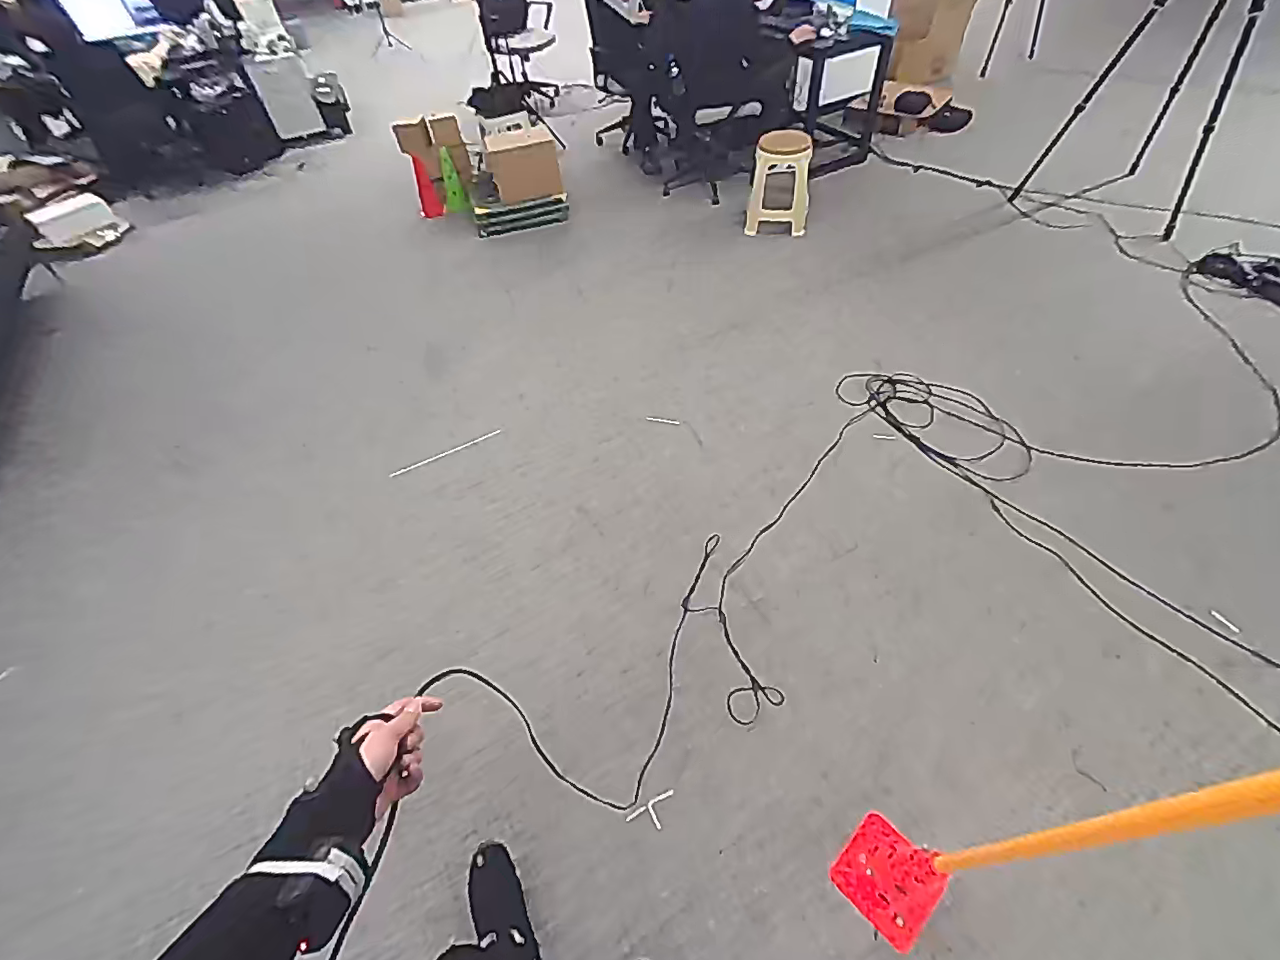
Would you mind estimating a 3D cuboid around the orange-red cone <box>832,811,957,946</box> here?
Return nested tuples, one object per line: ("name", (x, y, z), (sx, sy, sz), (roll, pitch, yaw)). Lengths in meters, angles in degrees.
("orange-red cone", (0.565, 0.802, 1.117), (0.199, 0.360, 0.198), (-36, 57, -24))
